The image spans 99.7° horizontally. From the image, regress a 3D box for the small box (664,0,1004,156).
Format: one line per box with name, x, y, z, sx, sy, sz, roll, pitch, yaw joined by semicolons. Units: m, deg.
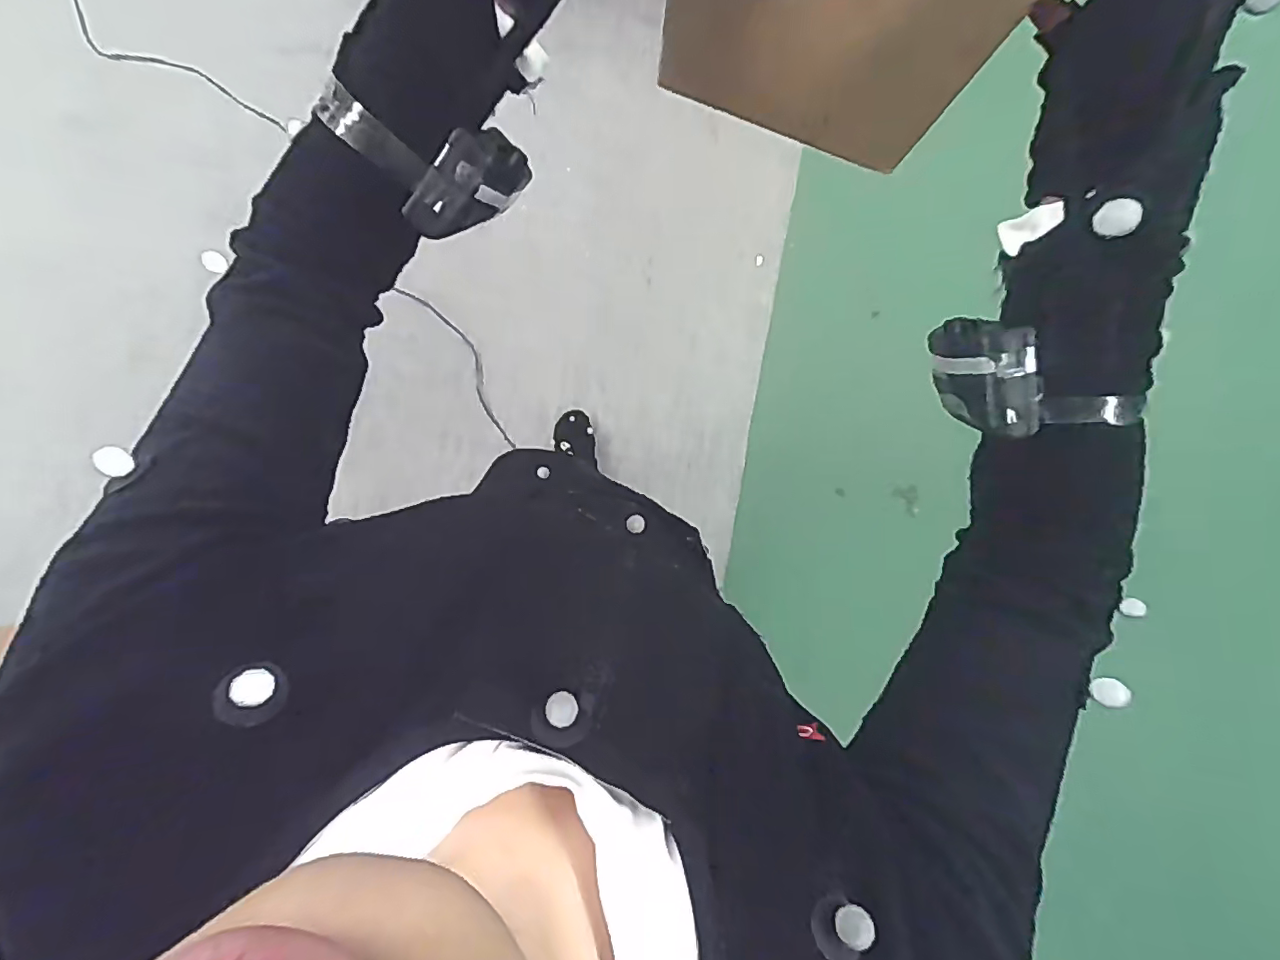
small box;0.122;-0.327;0.303;0.179;0.176;0.168;19;86;-3
